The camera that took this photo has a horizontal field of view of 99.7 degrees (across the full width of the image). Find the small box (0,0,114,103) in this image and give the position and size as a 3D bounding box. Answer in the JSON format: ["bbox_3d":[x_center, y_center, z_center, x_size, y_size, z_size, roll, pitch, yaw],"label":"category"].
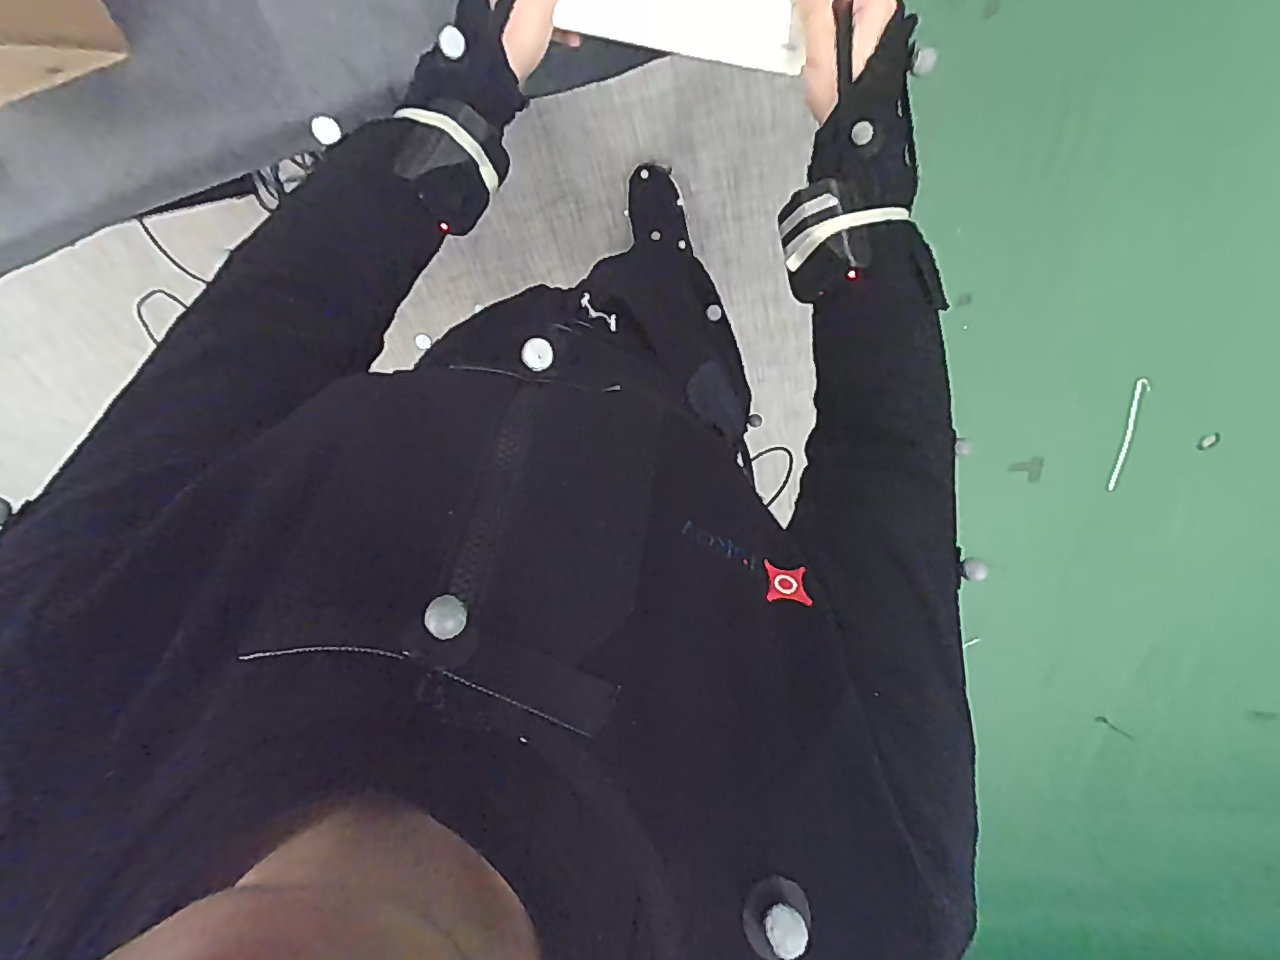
[{"bbox_3d":[-0.532,-0.364,0.358,0.168,0.176,0.179,-7,123,13],"label":"small box"}]
